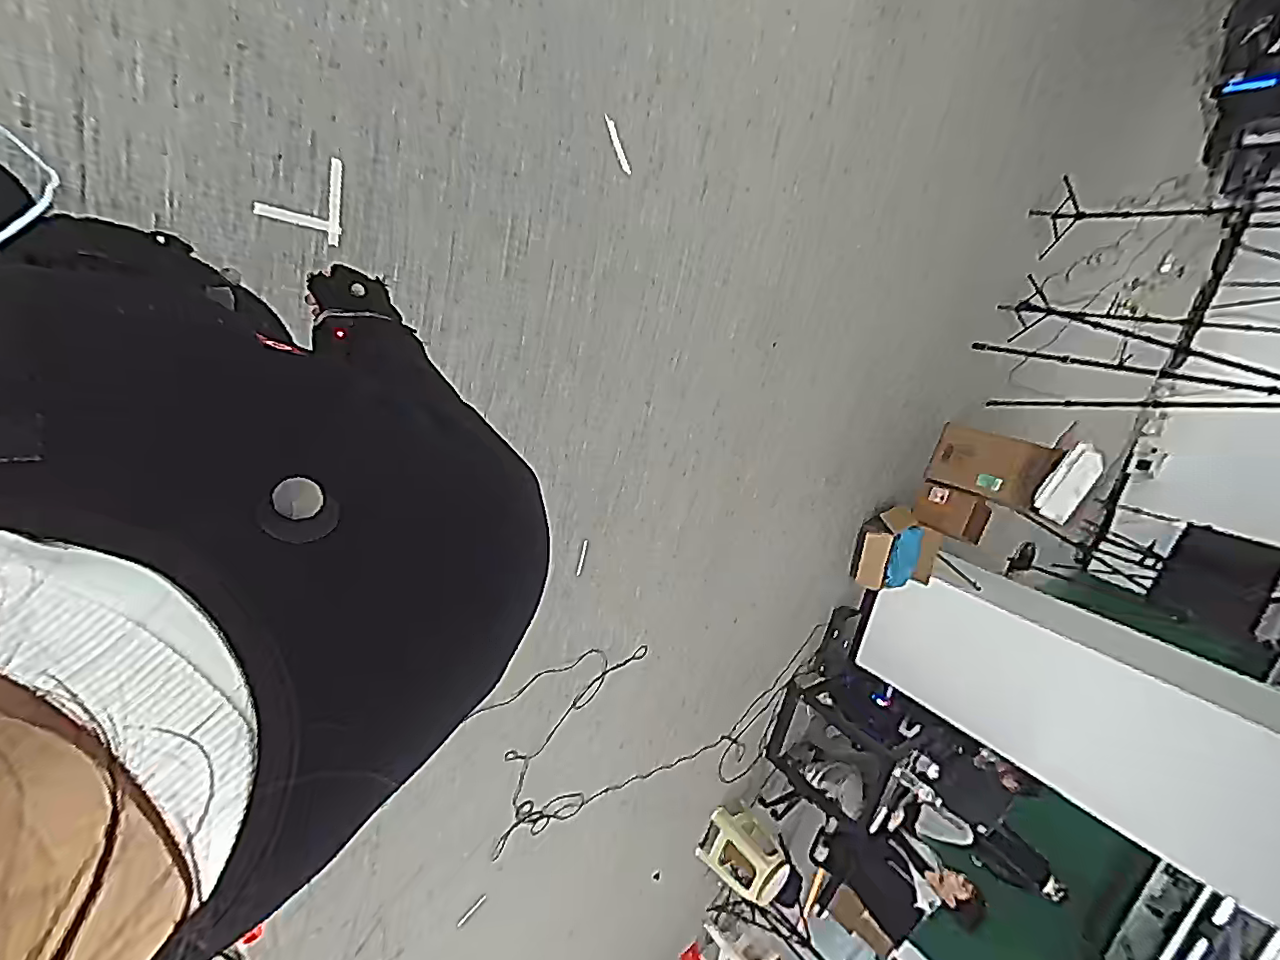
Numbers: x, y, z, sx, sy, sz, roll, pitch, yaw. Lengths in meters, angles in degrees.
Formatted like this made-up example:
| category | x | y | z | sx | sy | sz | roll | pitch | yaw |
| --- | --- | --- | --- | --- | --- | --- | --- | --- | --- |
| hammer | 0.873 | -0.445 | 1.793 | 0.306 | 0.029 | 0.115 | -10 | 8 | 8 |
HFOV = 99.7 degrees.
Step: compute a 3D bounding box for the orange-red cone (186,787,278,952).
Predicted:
| category | x | y | z | sx | sy | sz | roll | pitch | yaw |
| --- | --- | --- | --- | --- | --- | --- | --- | --- | --- |
| orange-red cone | -1.002 | 0.994 | 1.346 | 0.199 | 0.360 | 0.198 | 2 | 107 | -40 |
